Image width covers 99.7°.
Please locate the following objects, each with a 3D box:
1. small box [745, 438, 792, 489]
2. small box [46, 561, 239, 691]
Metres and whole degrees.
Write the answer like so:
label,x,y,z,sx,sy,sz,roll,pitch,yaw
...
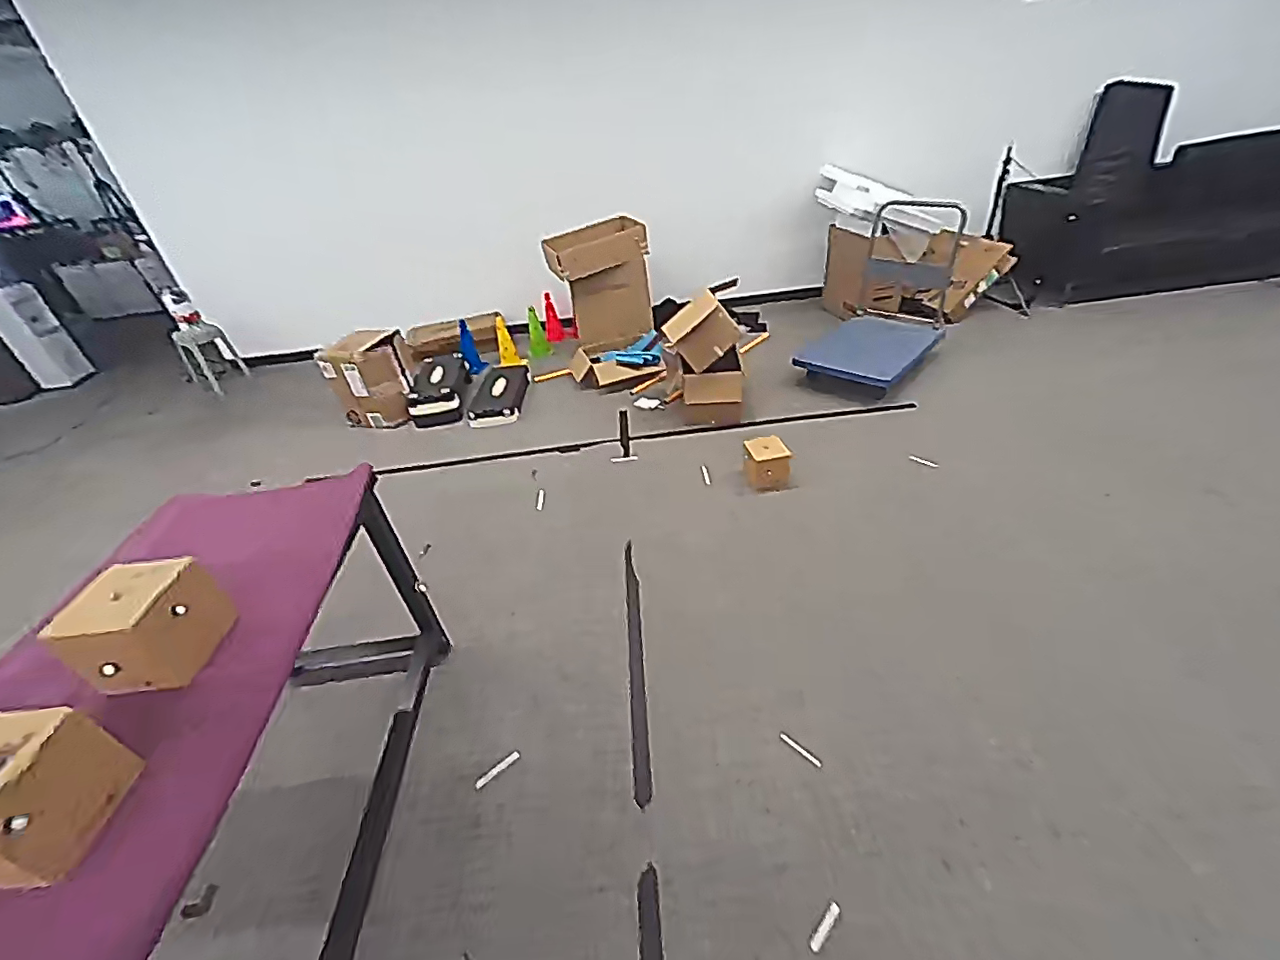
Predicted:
label,x,y,z,sx,sy,sz,roll,pitch,yaw
small box,0.594,-0.071,2.505,0.168,0.176,0.179,-11,35,-5
small box,-0.907,0.278,1.013,0.168,0.176,0.179,-6,35,2
